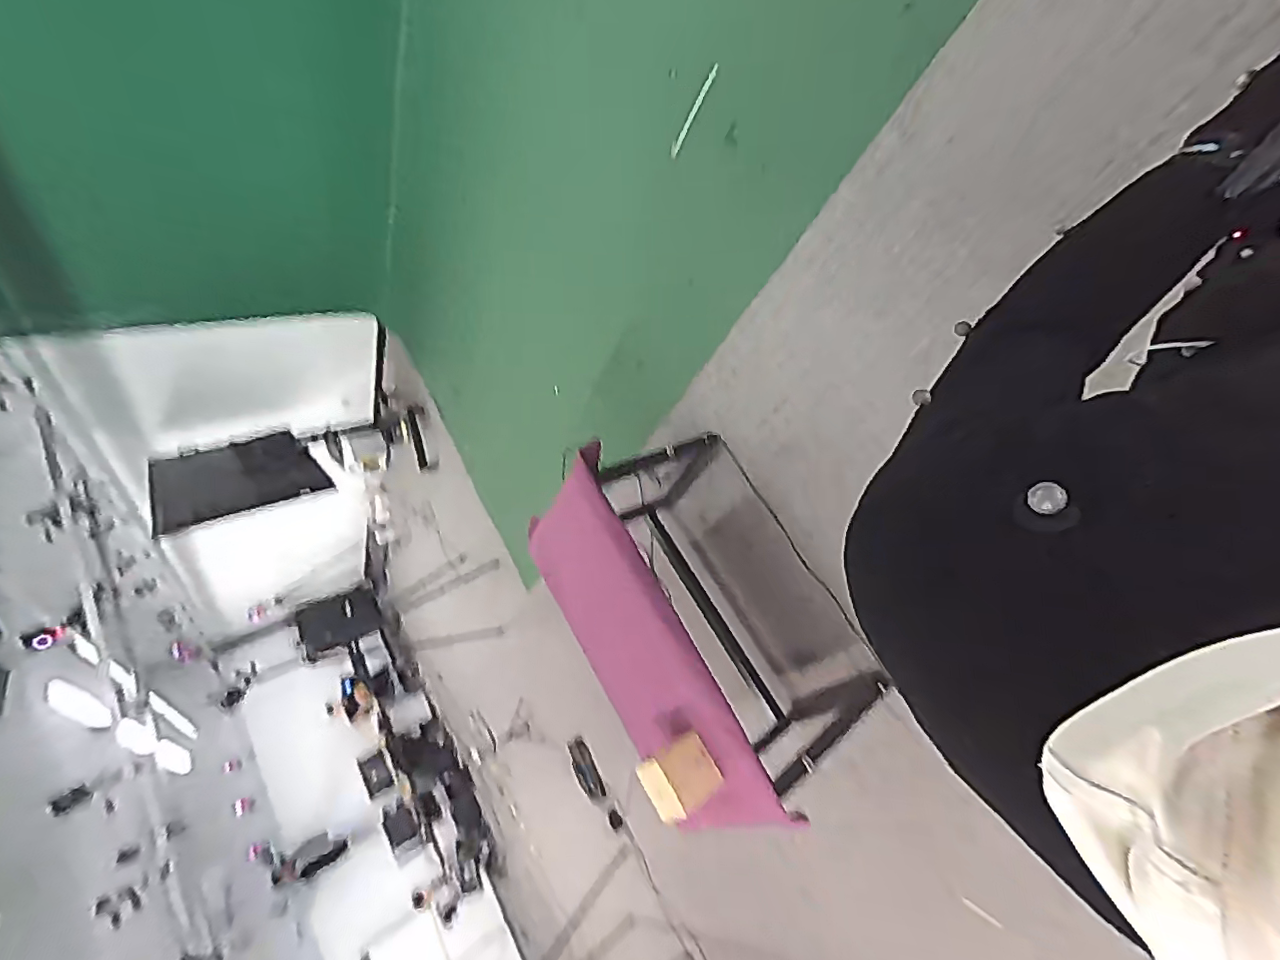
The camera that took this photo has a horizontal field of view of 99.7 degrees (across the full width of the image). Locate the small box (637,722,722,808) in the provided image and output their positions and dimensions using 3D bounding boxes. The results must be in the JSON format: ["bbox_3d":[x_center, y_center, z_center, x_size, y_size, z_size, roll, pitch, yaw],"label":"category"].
[{"bbox_3d":[0.124,0.887,1.688,0.168,0.176,0.179,56,141,18],"label":"small box"}]
